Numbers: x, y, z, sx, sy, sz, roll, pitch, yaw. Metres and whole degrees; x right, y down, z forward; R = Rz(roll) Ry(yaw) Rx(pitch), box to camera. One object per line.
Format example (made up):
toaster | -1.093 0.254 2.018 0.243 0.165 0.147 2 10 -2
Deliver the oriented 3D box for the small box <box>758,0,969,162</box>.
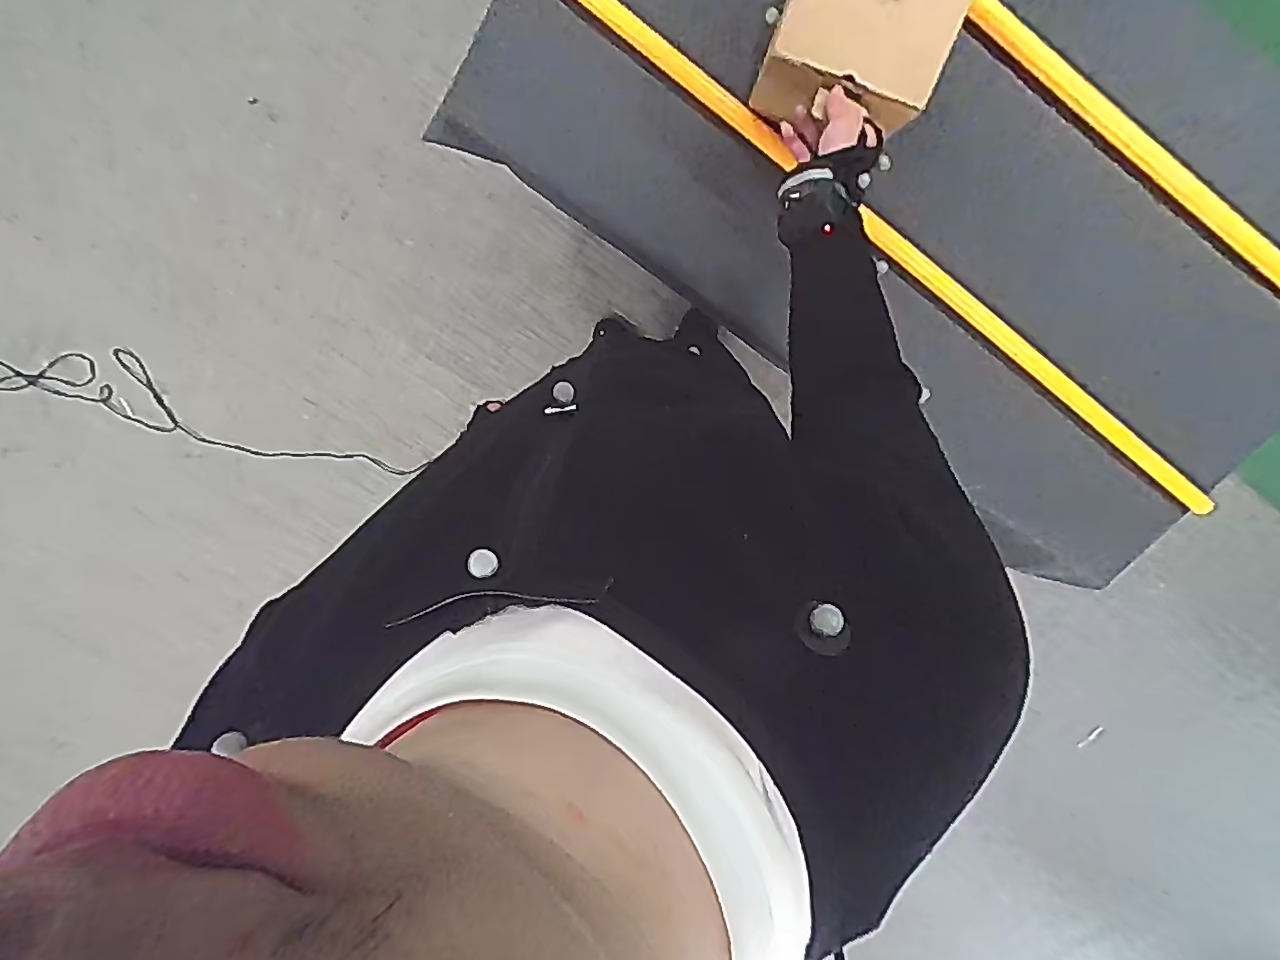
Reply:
small box | 0.241 -0.489 0.606 0.168 0.176 0.179 17 106 -1
